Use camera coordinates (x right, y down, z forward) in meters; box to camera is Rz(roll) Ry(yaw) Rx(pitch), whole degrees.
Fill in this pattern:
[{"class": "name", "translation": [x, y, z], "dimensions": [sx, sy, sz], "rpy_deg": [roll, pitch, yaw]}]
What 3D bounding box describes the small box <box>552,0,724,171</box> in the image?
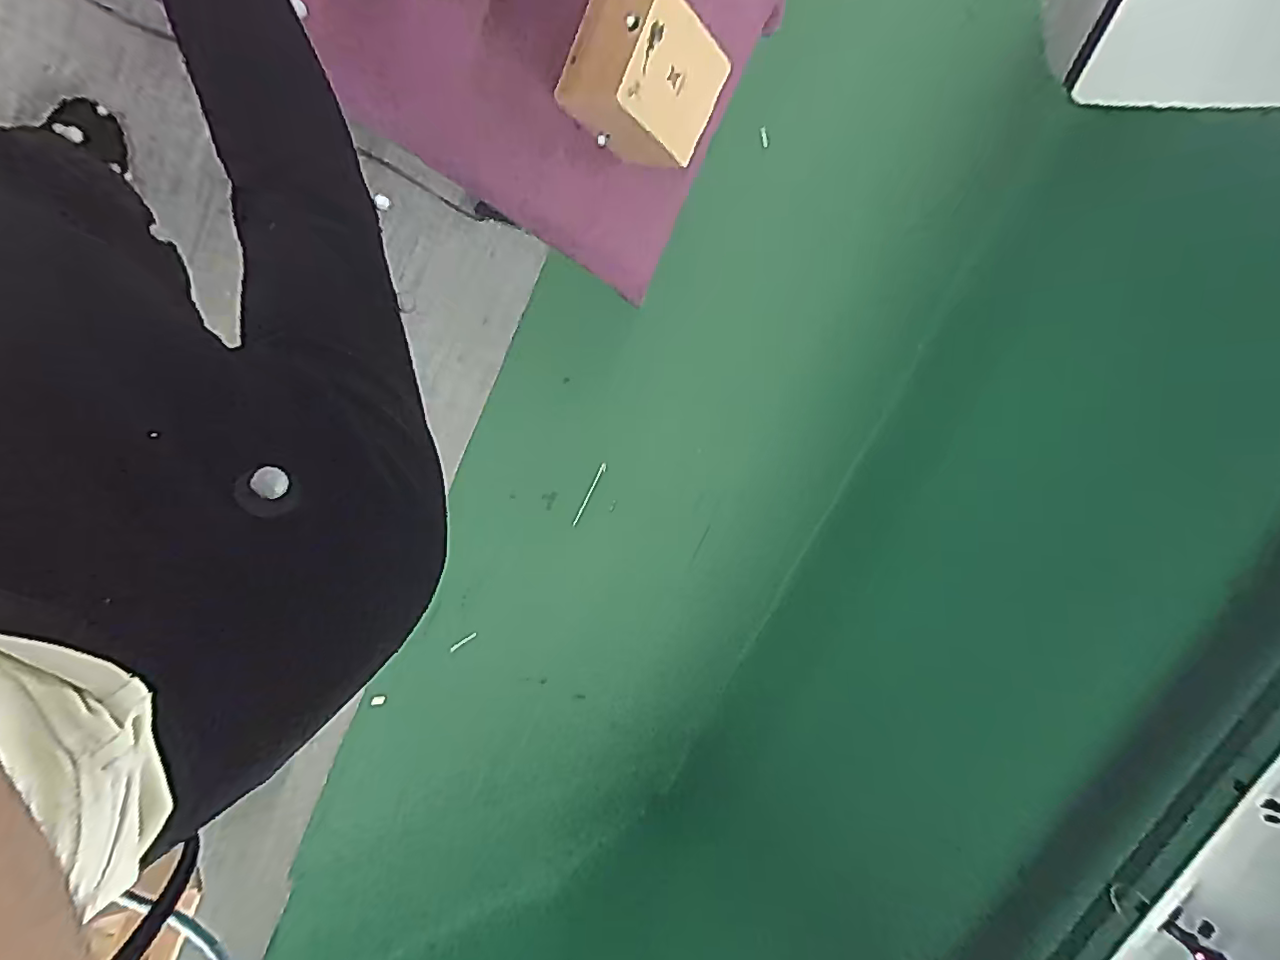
[{"class": "small box", "translation": [-0.004, -0.628, 0.860], "dimensions": [0.179, 0.176, 0.168], "rpy_deg": [12, 106, -50]}]
